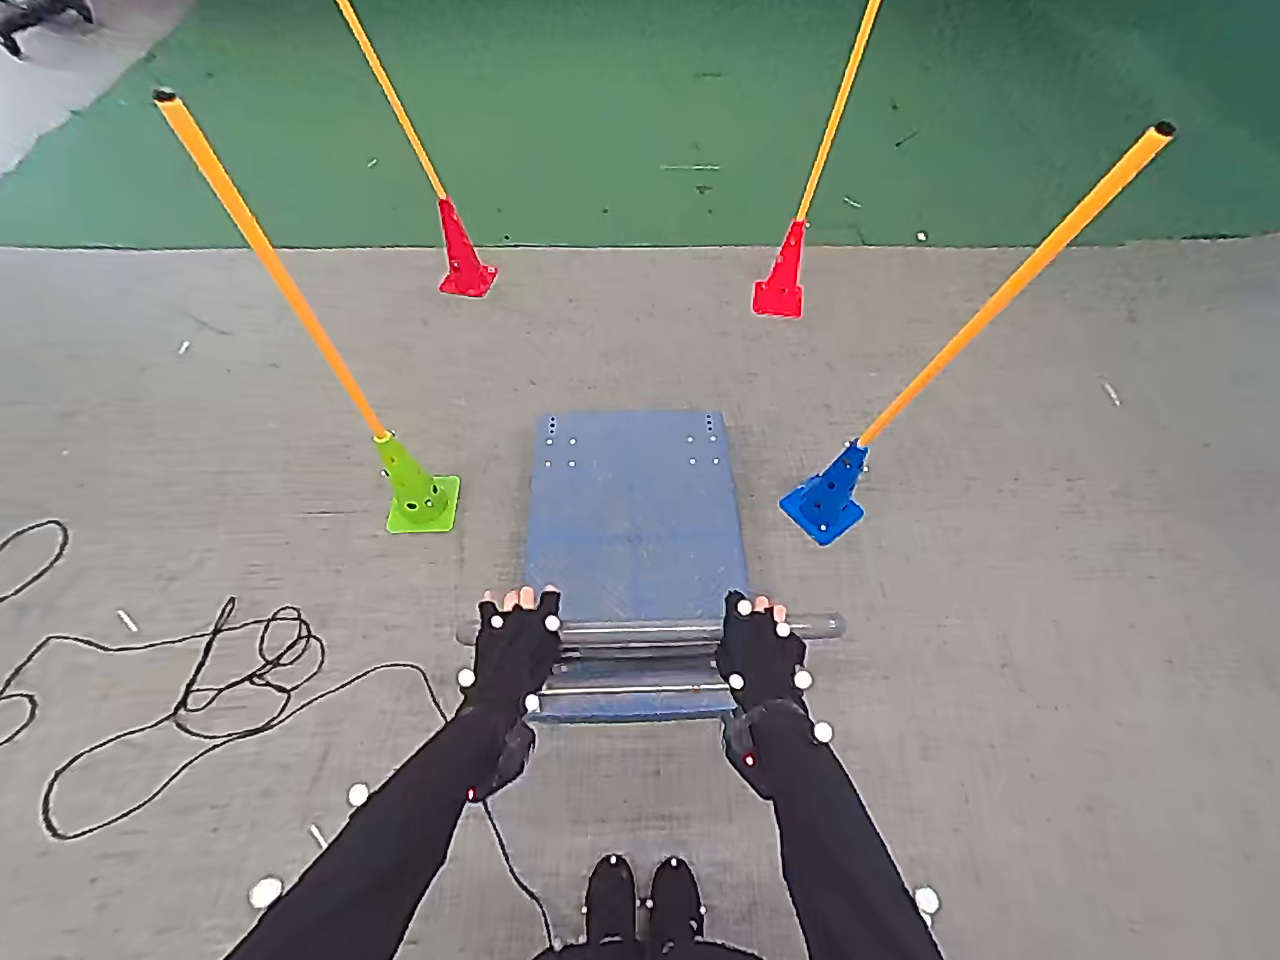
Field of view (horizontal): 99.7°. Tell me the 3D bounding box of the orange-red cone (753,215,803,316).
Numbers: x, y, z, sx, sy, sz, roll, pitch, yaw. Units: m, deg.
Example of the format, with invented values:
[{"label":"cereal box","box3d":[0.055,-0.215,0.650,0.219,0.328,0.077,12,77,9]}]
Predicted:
[{"label":"orange-red cone","box3d":[0.565,-0.836,2.069,0.198,0.360,0.199,8,59,6]}]
